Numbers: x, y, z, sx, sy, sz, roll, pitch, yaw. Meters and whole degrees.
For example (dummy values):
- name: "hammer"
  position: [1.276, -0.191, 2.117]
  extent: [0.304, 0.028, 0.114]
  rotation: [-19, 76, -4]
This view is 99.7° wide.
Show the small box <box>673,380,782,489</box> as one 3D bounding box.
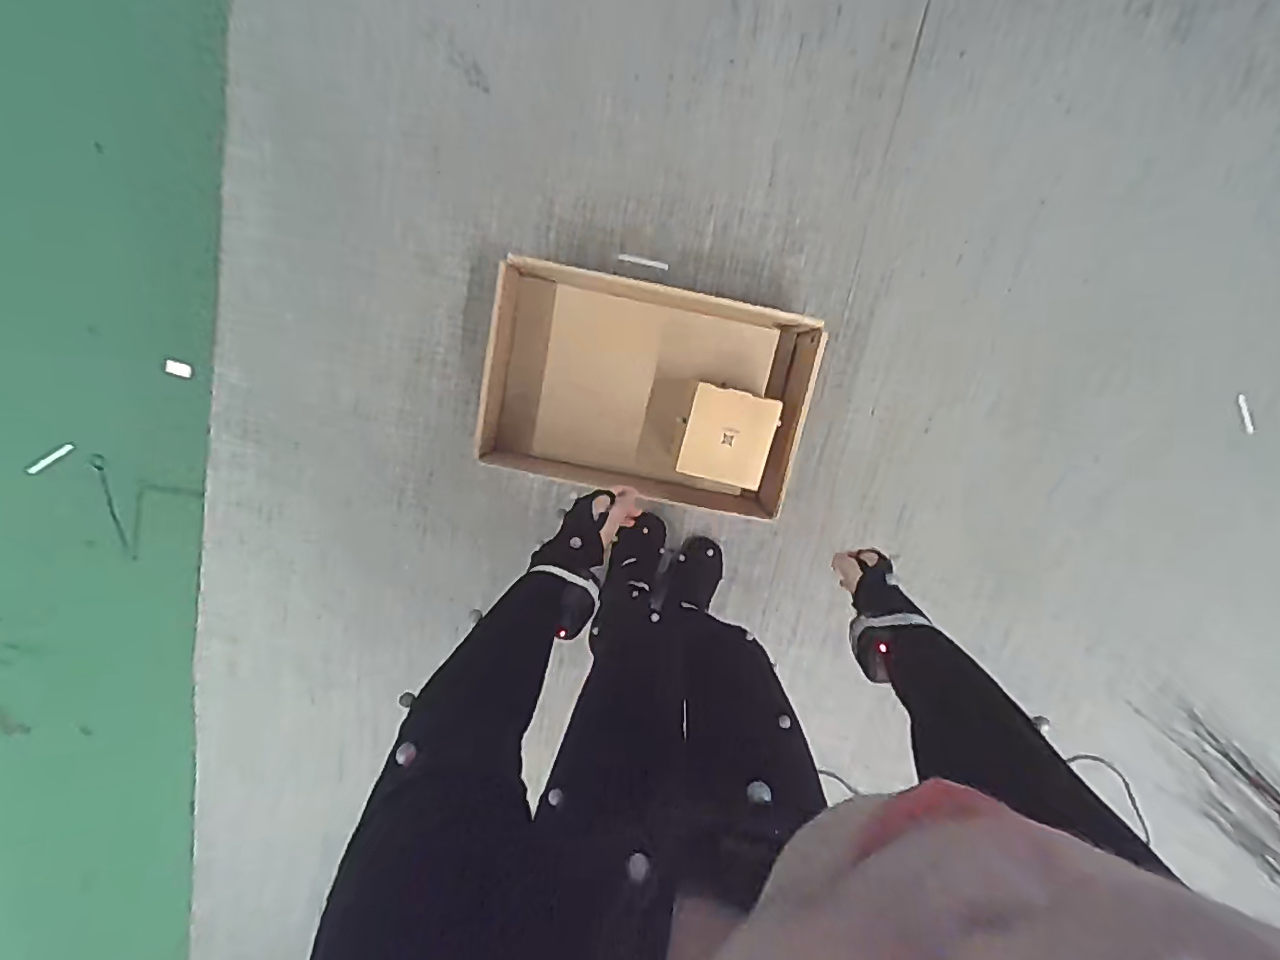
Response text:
- name: "small box"
  position: [0.167, -0.098, 1.098]
  extent: [0.168, 0.176, 0.179]
  rotation: [14, 101, -3]
